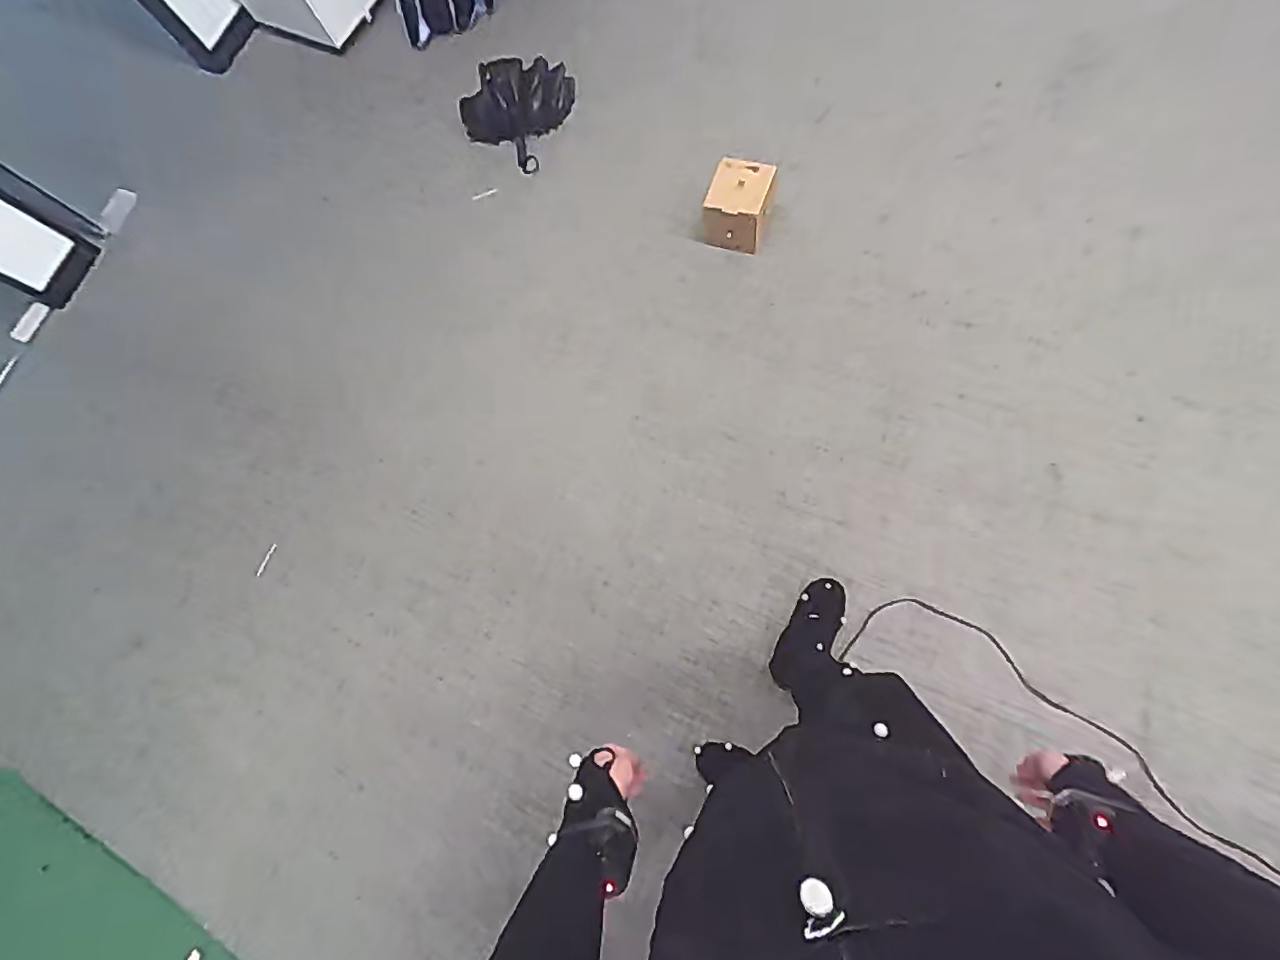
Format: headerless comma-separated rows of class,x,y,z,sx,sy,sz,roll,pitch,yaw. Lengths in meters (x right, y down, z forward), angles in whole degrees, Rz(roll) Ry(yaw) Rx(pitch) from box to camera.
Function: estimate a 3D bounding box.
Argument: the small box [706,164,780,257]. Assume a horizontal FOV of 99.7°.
small box,0.311,-0.802,1.621,0.168,0.176,0.179,19,79,15
